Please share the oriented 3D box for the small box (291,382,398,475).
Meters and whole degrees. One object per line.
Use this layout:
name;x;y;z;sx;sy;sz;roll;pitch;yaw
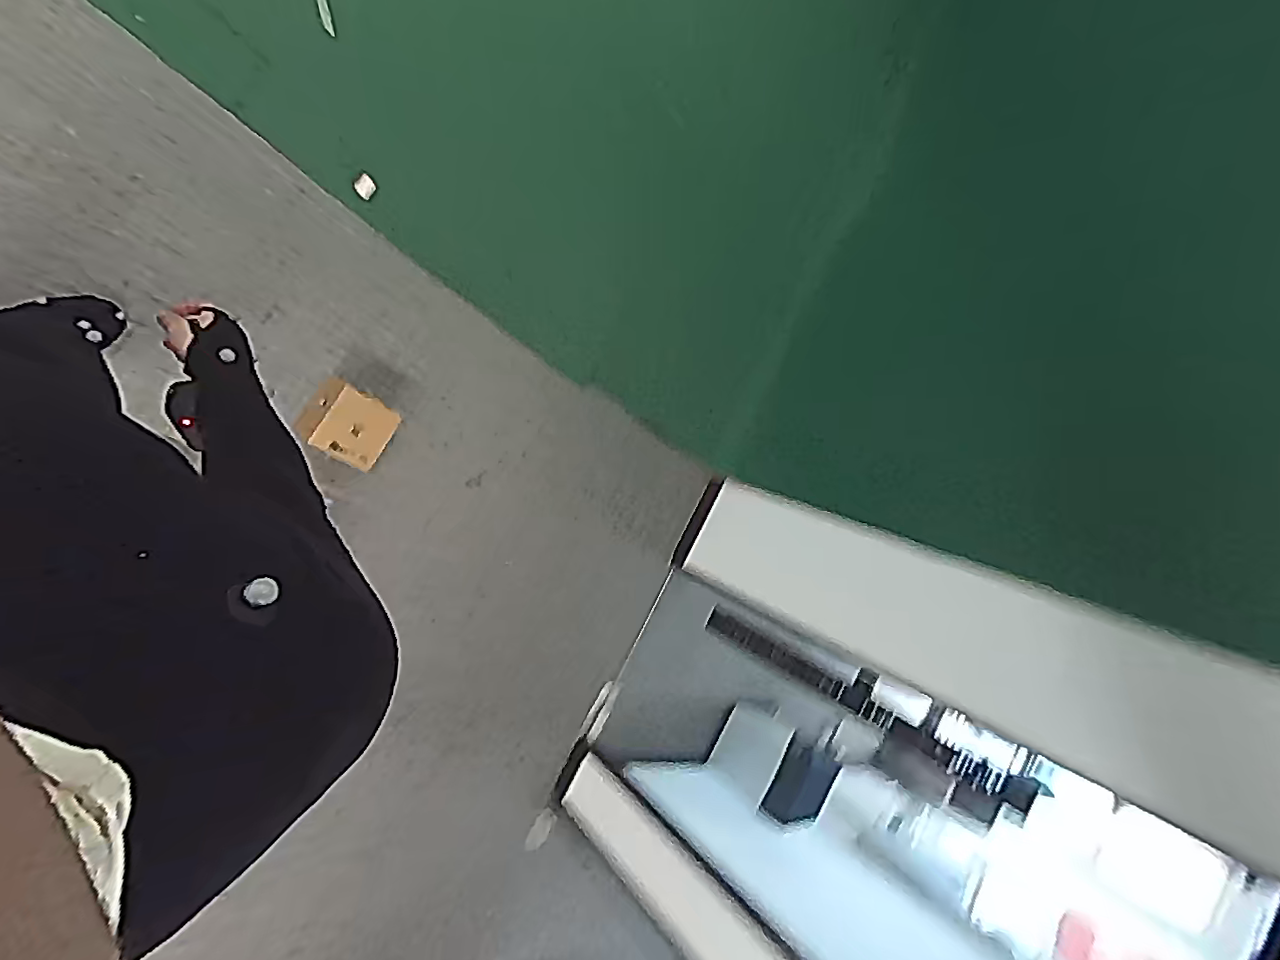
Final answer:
small box;-0.787;-0.141;1.430;0.168;0.176;0.179;39;77;-45
